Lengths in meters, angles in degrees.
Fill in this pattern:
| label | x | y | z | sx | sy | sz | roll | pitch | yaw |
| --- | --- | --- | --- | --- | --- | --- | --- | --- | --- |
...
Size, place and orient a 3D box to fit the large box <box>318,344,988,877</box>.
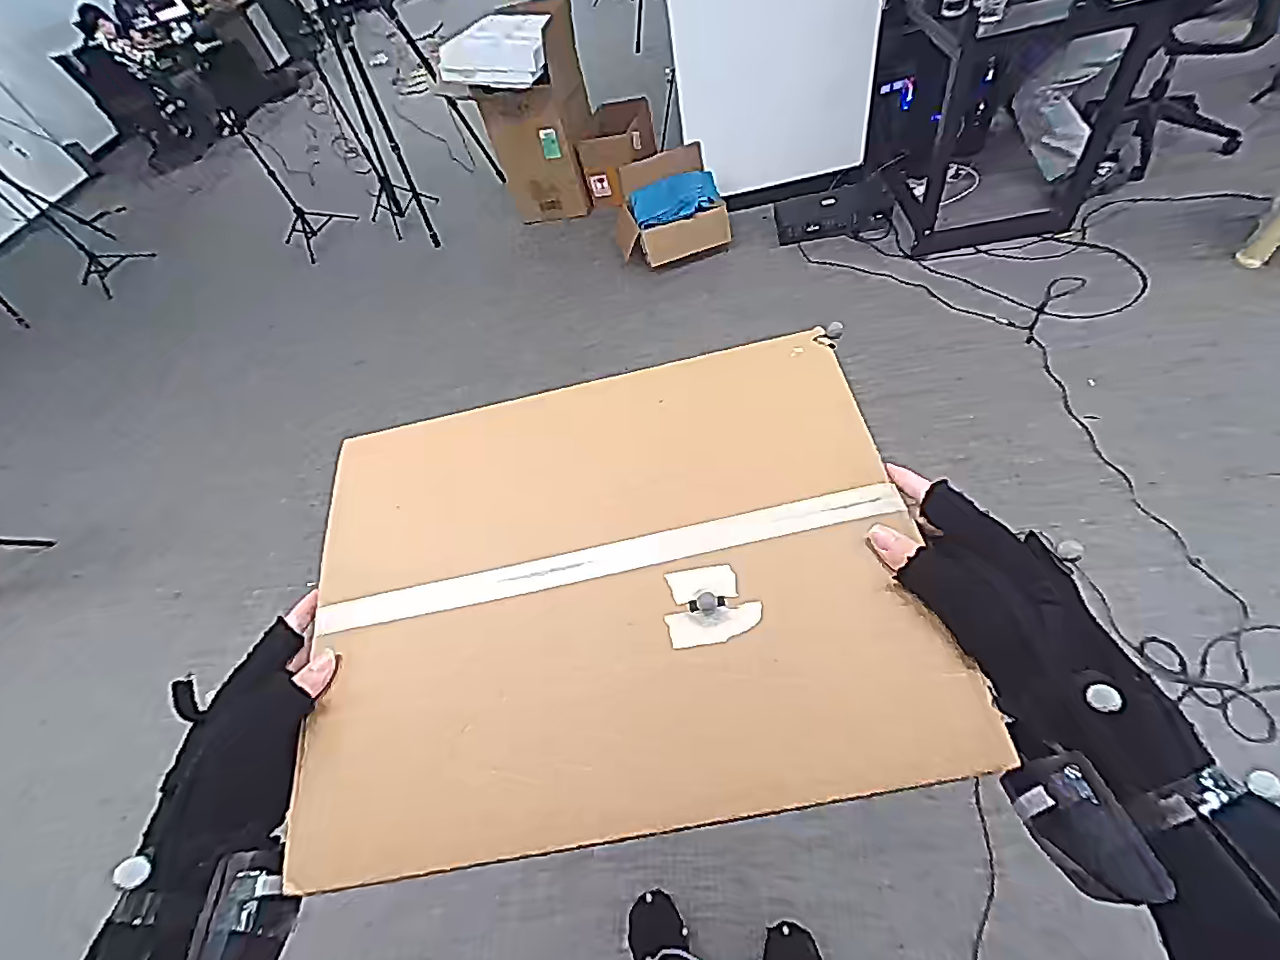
| label | x | y | z | sx | sy | sz | roll | pitch | yaw |
| --- | --- | --- | --- | --- | --- | --- | --- | --- | --- |
| large box | -0.001 | 0.131 | 0.510 | 0.408 | 0.320 | 0.320 | -12 | 61 | 3 |
